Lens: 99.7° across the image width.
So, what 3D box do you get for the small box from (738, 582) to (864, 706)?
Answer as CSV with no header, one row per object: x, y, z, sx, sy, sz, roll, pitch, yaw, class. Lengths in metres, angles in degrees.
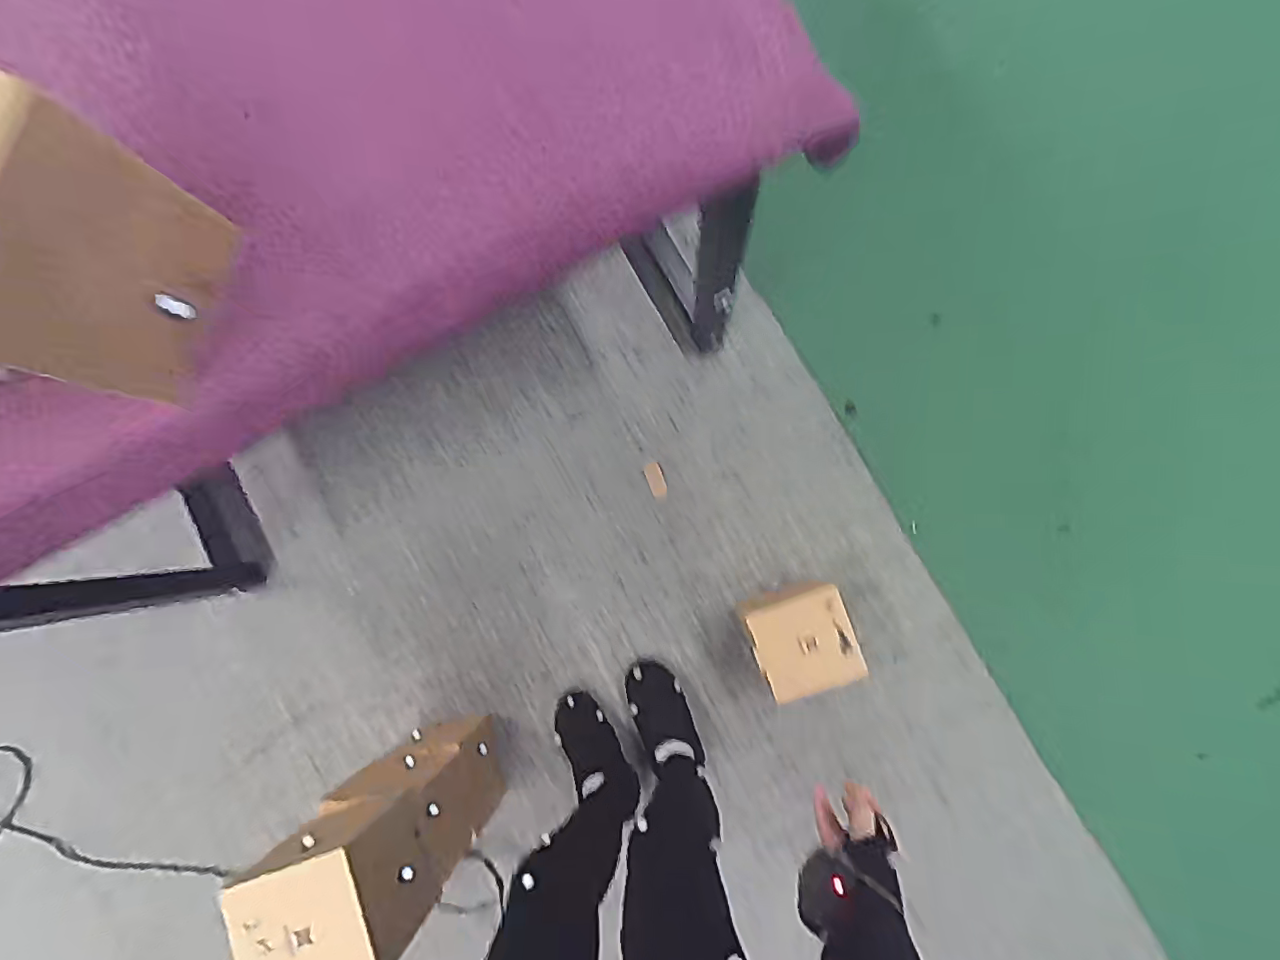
0.297,0.306,1.041,0.179,0.176,0.168,-19,84,3,small box

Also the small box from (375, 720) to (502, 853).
-0.385,0.590,1.058,0.168,0.176,0.179,-13,85,3,small box

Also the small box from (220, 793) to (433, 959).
-0.405,0.562,0.733,0.179,0.176,0.168,-20,82,3,small box
